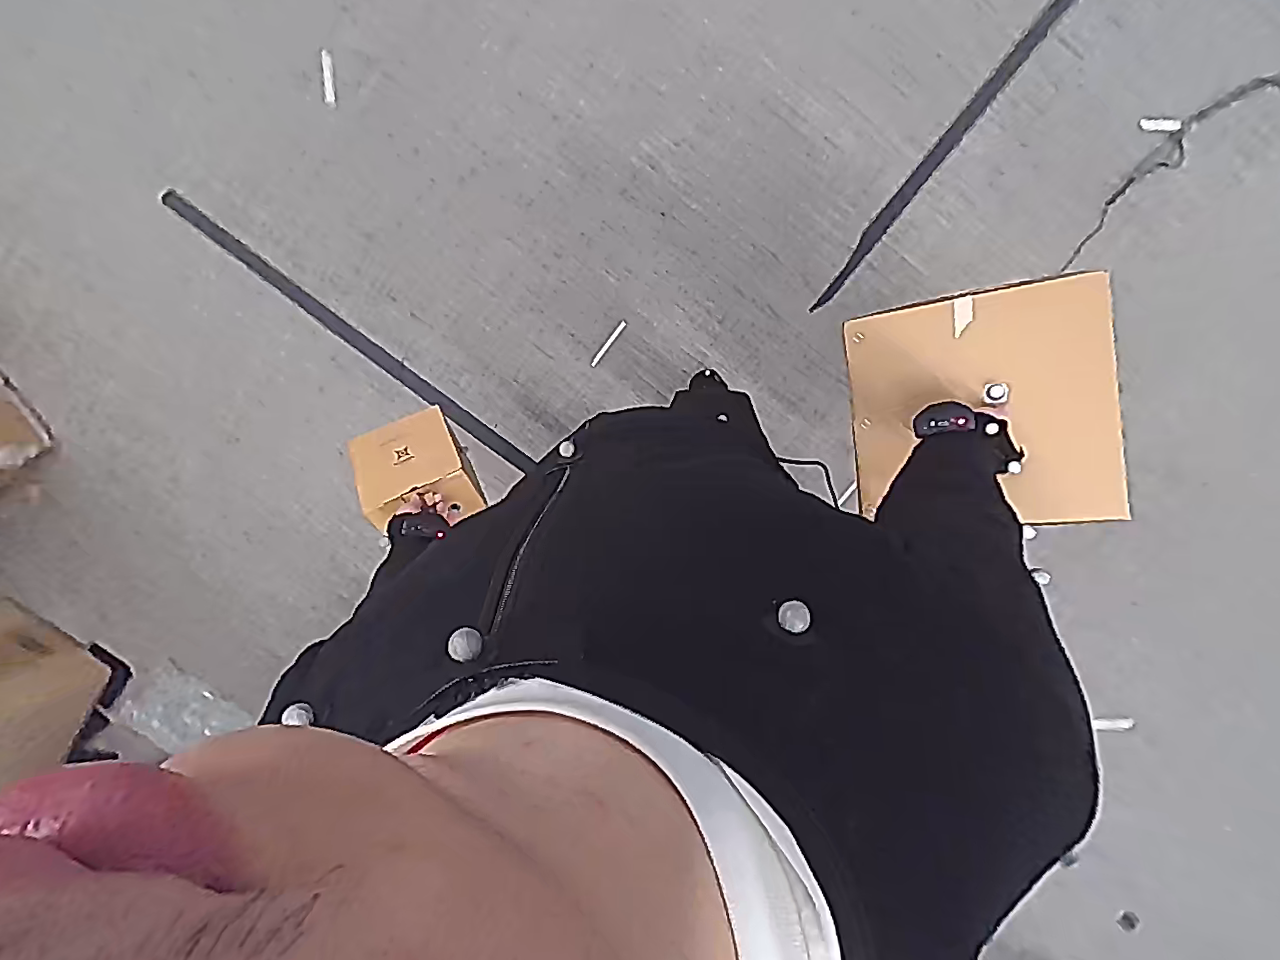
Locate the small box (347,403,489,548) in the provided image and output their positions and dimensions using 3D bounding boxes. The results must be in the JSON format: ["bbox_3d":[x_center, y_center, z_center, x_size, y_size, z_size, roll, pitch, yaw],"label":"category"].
[{"bbox_3d":[-0.391,0.001,0.970,0.168,0.176,0.179,-24,56,-12],"label":"small box"}]
